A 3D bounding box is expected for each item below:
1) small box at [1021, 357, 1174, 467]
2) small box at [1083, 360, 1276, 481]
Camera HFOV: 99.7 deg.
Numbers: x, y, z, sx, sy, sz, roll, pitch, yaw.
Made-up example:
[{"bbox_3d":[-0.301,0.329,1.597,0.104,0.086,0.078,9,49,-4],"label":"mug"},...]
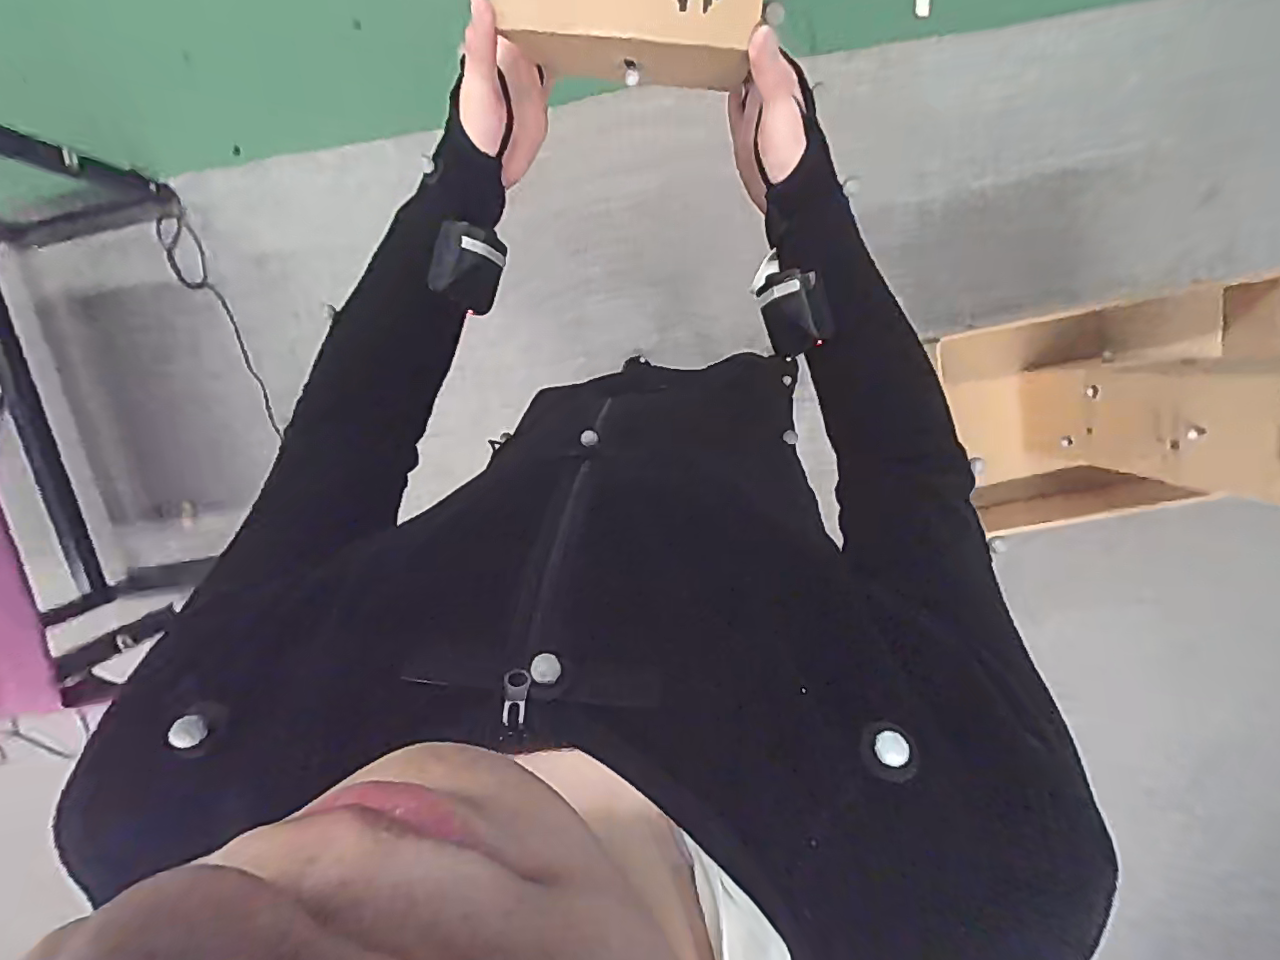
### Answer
[{"bbox_3d":[0.873,-0.134,1.046,0.168,0.176,0.179,-10,101,4],"label":"small box"},{"bbox_3d":[0.873,-0.101,0.885,0.179,0.176,0.168,-8,101,3],"label":"small box"}]
